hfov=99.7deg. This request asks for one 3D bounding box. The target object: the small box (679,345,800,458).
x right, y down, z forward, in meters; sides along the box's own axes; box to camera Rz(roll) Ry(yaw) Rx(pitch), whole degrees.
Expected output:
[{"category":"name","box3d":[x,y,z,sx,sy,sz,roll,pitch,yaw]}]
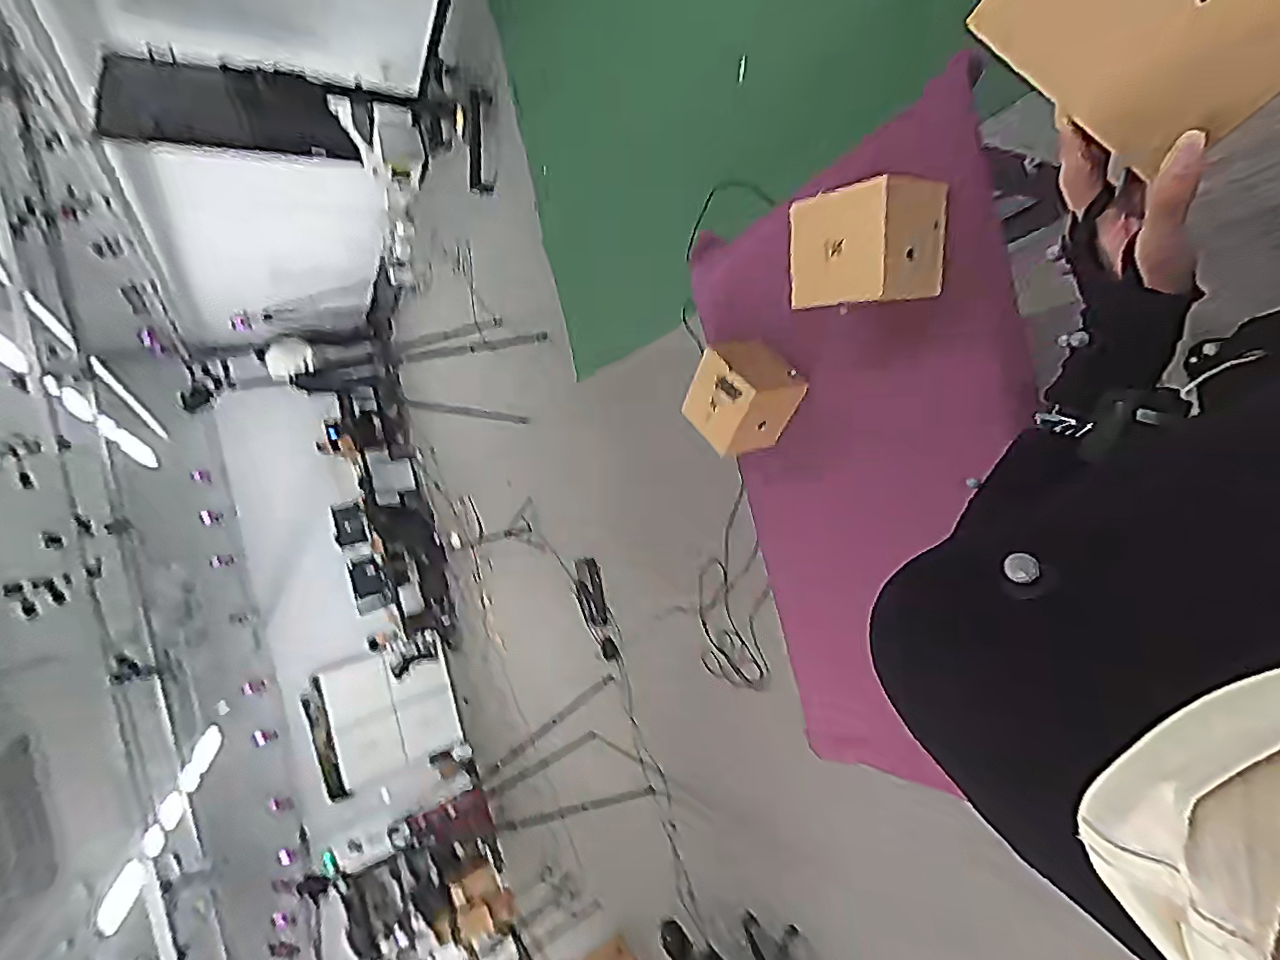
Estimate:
[{"category":"small box","box3d":[0.219,-0.178,1.184,0.168,0.176,0.179,53,140,31]}]

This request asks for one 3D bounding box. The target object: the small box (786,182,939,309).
[{"category":"small box","box3d":[0.365,-0.379,0.890,0.179,0.176,0.168,17,117,55]}]
